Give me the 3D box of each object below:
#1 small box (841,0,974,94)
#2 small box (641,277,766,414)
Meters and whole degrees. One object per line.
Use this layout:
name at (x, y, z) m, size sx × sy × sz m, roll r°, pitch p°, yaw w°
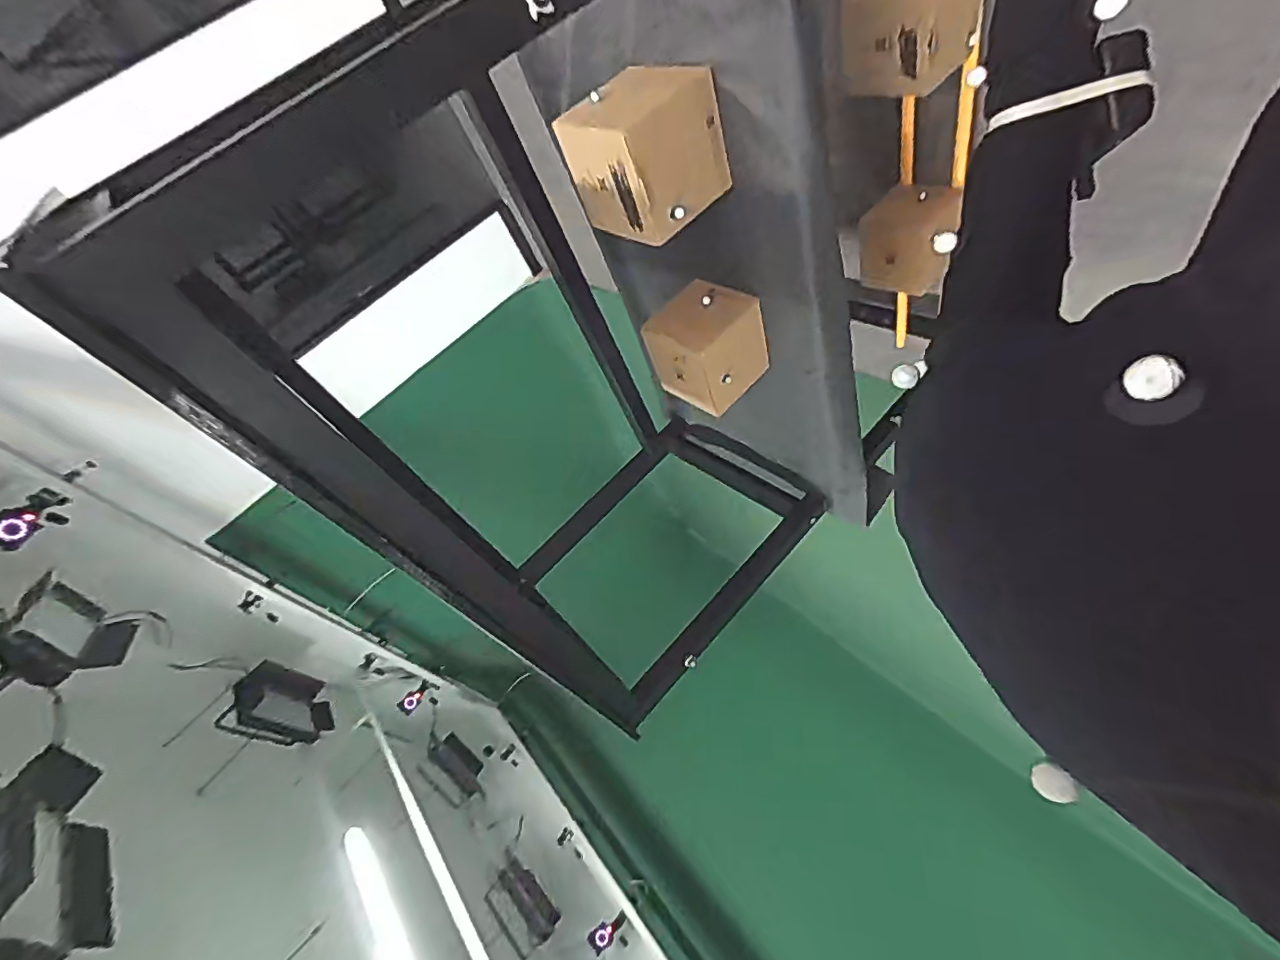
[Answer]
small box at (0.498, -0.849, 1.000) m, size 0.179 × 0.176 × 0.168 m, roll 34°, pitch 162°, yaw 36°
small box at (0.135, -0.271, 1.088) m, size 0.168 × 0.176 × 0.179 m, roll 34°, pitch 162°, yaw 37°
